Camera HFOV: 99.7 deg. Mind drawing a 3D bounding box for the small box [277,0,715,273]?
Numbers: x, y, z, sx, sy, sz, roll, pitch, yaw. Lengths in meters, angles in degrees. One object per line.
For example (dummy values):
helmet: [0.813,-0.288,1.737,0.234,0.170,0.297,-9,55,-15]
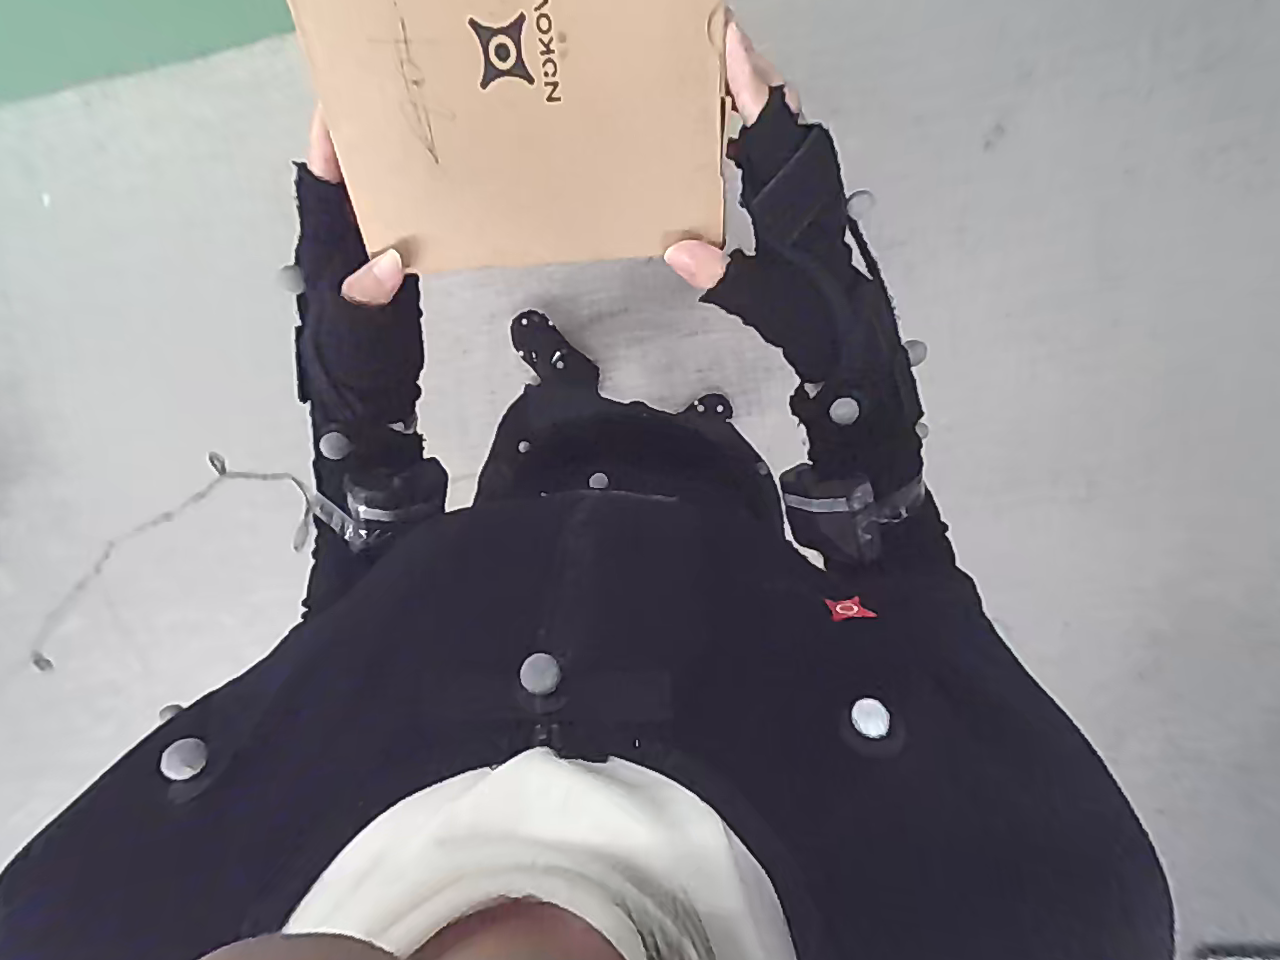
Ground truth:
small box: [-0.055,-0.222,0.294,0.179,0.176,0.168,-4,121,7]
